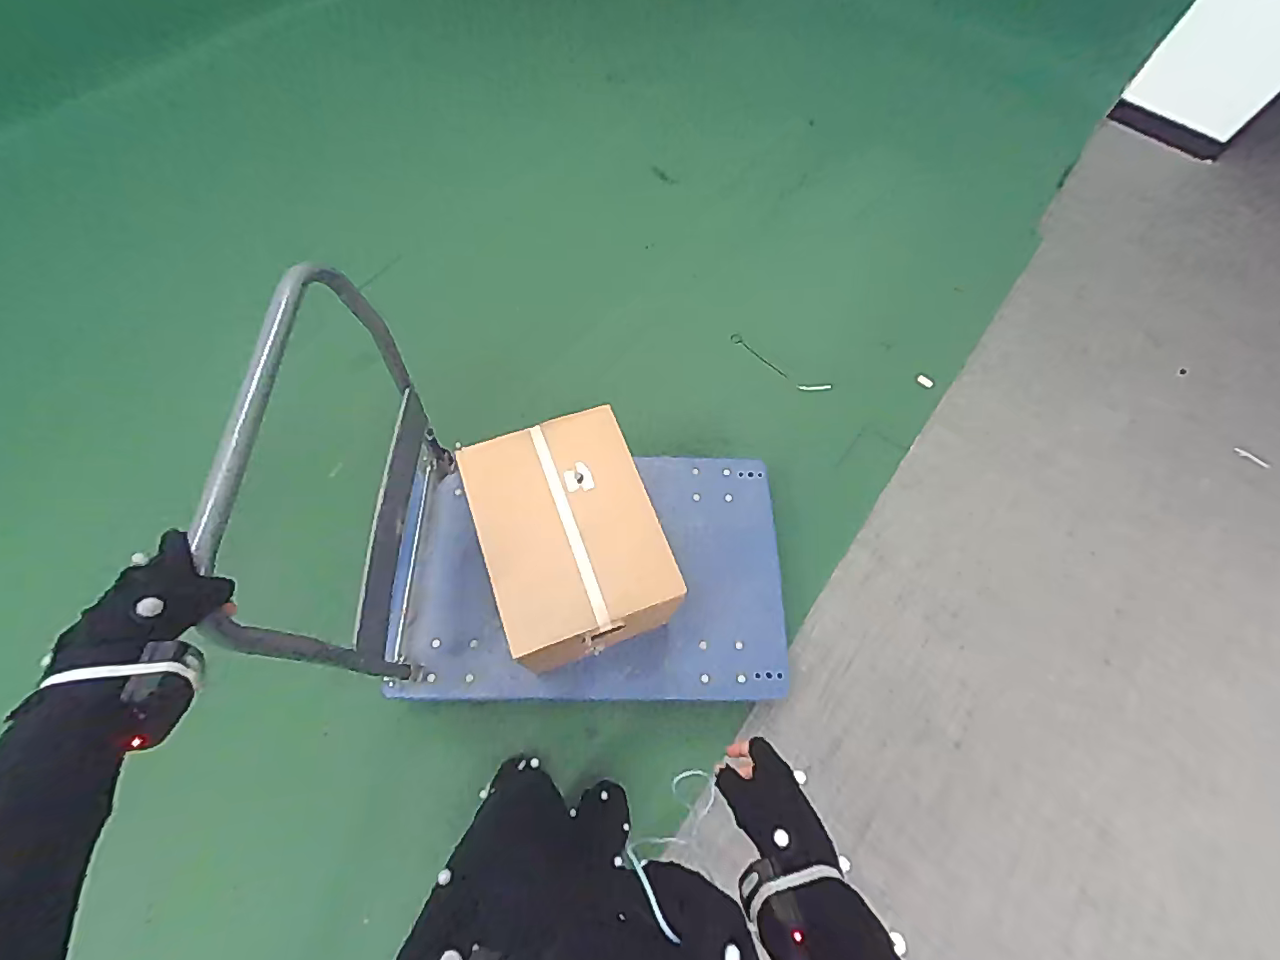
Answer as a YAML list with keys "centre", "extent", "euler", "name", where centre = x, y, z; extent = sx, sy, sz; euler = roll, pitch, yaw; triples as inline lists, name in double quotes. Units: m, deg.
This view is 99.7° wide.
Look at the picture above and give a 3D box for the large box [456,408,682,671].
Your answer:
- centre: [-0.141, 0.131, 1.114]
  extent: [0.320, 0.320, 0.408]
  euler: [-18, 67, -11]
  name: "large box"
